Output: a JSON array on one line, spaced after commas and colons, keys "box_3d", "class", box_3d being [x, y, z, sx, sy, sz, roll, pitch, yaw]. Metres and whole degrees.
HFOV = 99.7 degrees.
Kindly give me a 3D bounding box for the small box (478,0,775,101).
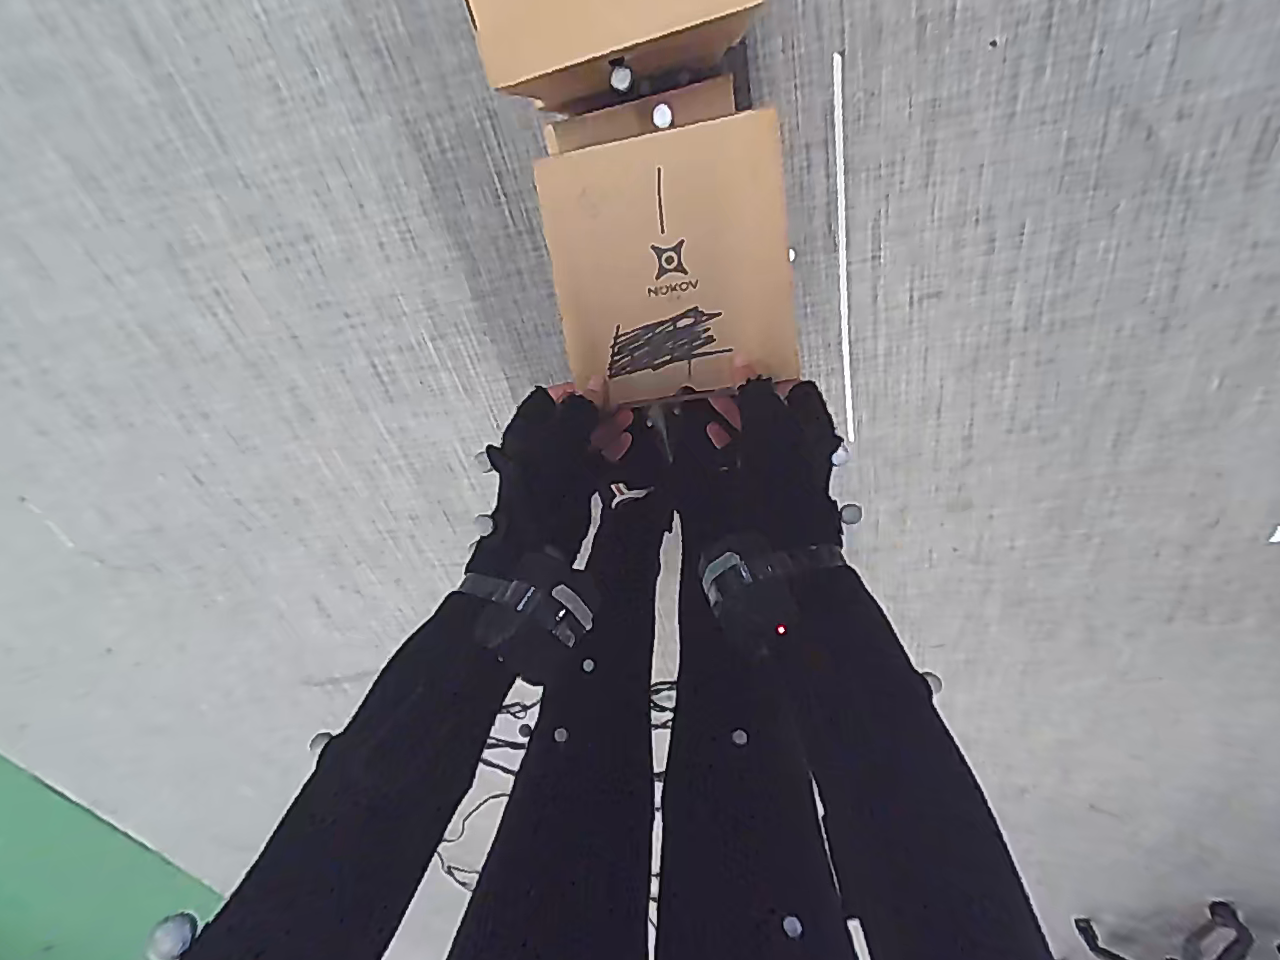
[{"box_3d": [-0.016, -0.373, 0.360, 0.179, 0.176, 0.168, -9, 122, 12], "class": "small box"}]
